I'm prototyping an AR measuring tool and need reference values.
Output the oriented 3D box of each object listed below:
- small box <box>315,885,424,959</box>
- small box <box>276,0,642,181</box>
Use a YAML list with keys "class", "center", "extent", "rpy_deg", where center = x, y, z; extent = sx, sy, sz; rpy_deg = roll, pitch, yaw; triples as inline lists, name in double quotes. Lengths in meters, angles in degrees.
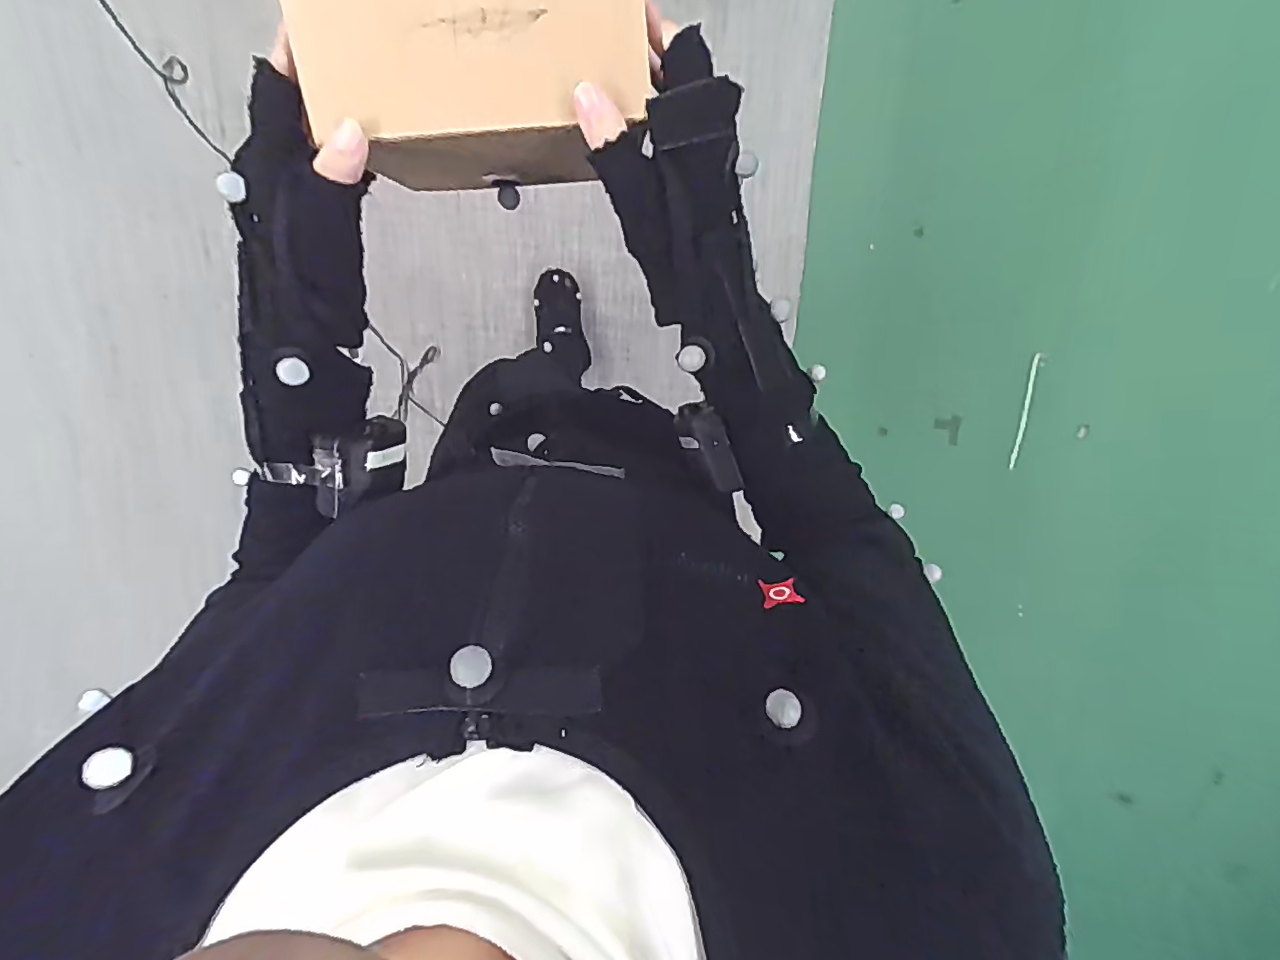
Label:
- class: "small box"
  center: [-0.561, 0.995, 1.123]
  extent: [0.168, 0.176, 0.179]
  rpy_deg: [9, 104, -6]
- class: "small box"
  center: [-0.091, -0.287, 0.308]
  extent: [0.168, 0.176, 0.179]
  rpy_deg: [-5, 111, -2]
